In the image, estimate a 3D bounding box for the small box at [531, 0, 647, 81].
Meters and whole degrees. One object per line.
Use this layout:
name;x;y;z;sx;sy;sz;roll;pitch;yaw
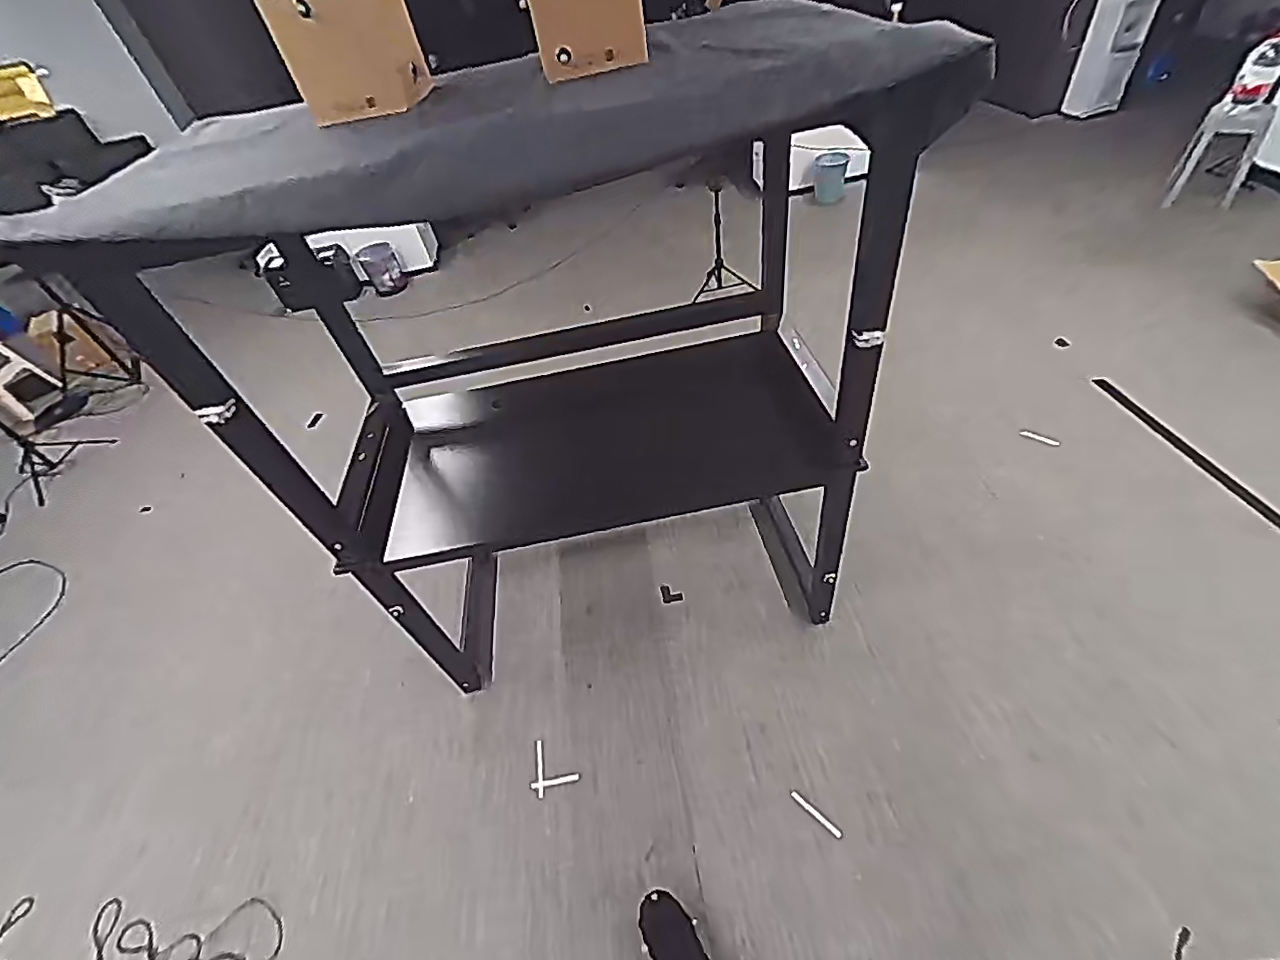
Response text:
small box;-0.090;-0.765;0.869;0.168;0.176;0.179;-13;45;-1

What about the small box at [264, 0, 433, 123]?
small box;-0.463;-0.712;0.893;0.168;0.176;0.179;-8;46;4
